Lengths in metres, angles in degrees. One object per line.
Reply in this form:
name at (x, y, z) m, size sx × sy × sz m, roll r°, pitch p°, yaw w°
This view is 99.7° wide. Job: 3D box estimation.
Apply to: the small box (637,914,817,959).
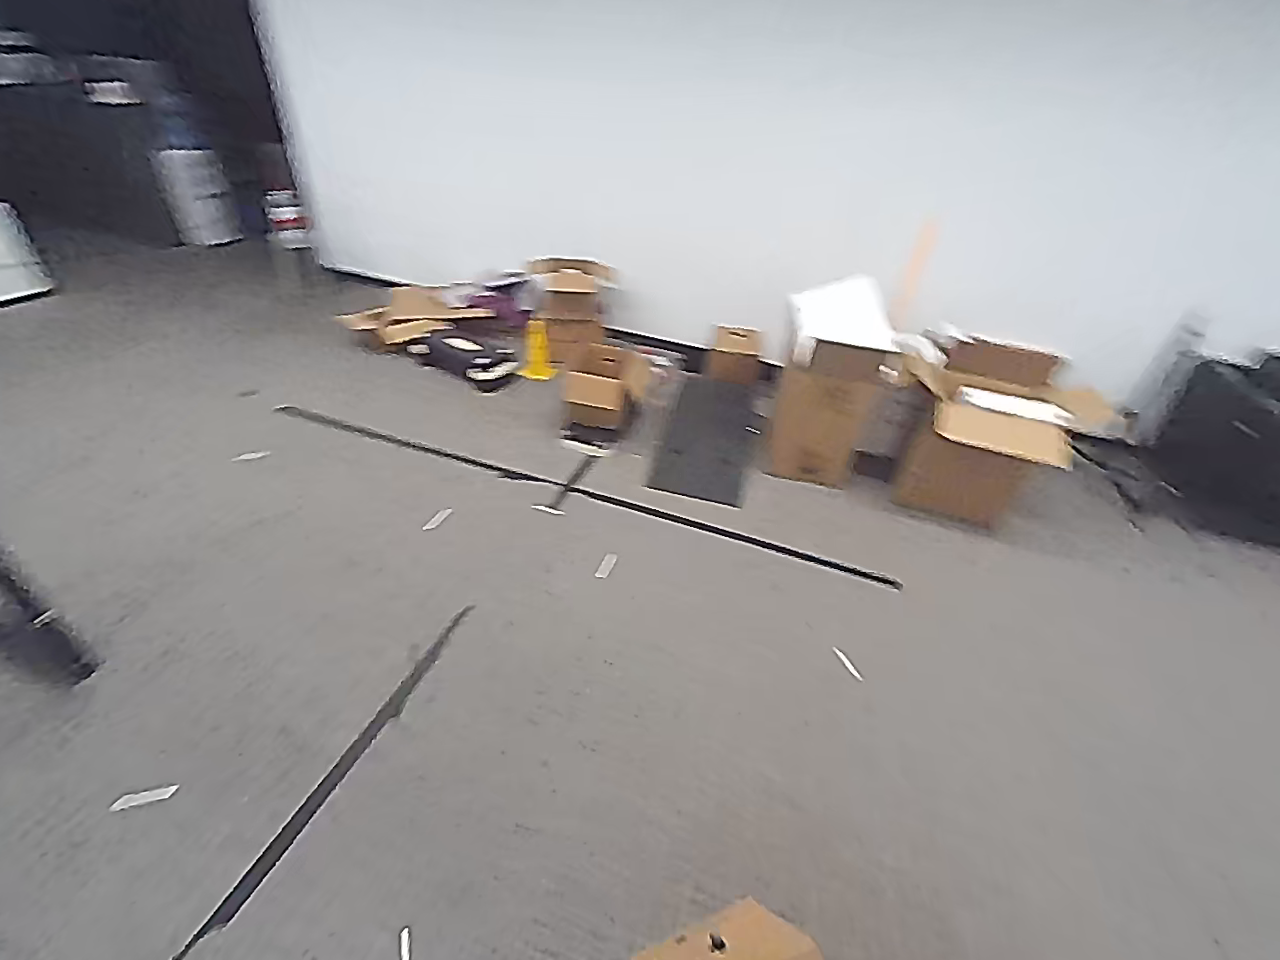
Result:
small box at (0.101, 0.581, 0.548) m, size 0.168 × 0.176 × 0.179 m, roll -11°, pitch 69°, yaw -18°
